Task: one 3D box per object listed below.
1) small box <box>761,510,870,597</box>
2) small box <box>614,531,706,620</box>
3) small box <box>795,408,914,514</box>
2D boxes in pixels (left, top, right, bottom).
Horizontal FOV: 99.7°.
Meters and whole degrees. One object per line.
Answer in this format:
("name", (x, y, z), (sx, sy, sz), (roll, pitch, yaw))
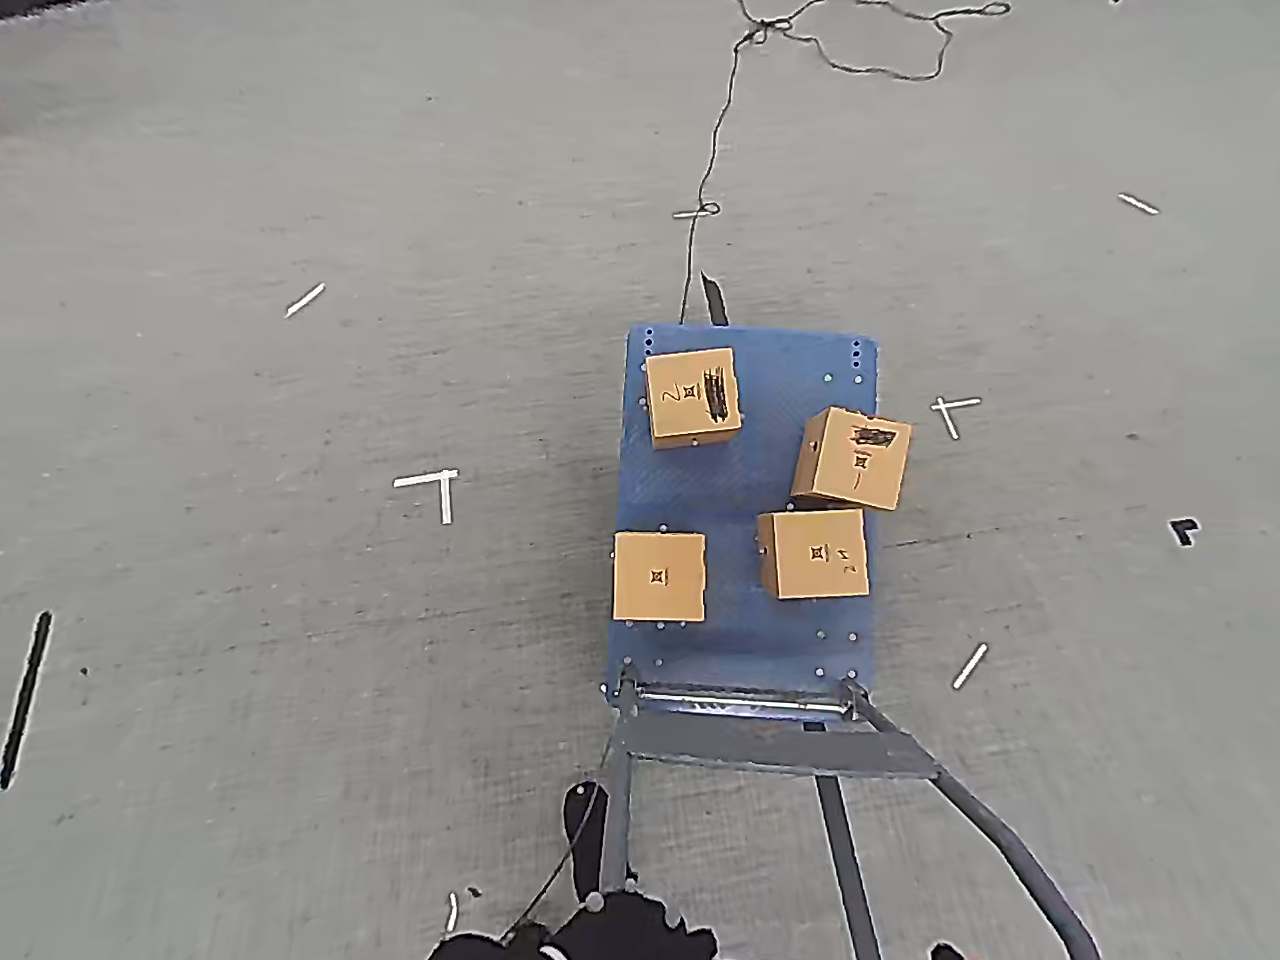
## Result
("small box", (0.350, 0.150, 1.112), (0.179, 0.176, 0.168), (-2, 85, 1))
("small box", (0.040, 0.192, 1.116), (0.179, 0.176, 0.168), (1, 85, 0))
("small box", (0.437, -0.033, 1.127), (0.168, 0.176, 0.179), (14, 86, 3))
